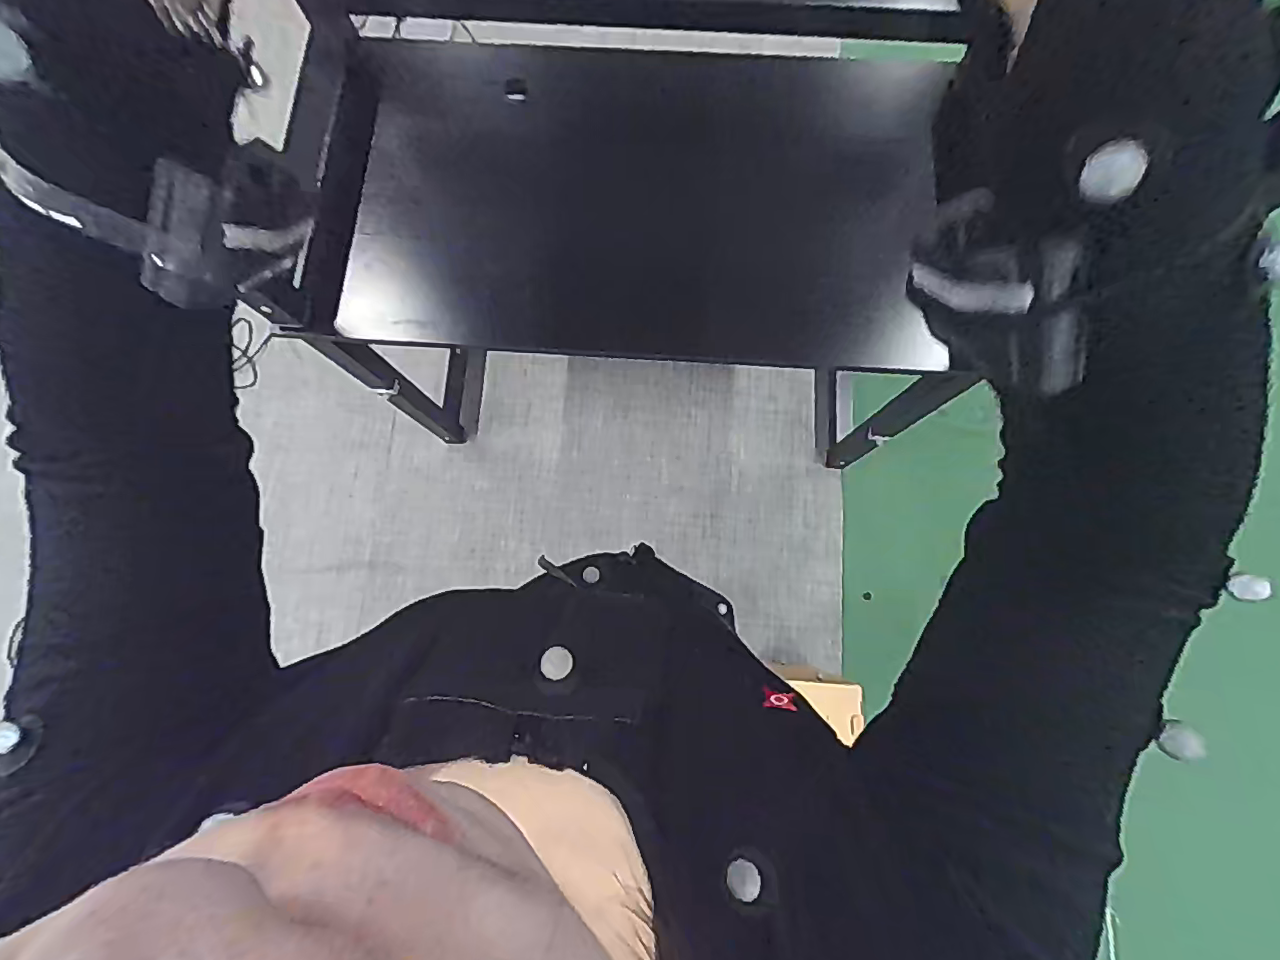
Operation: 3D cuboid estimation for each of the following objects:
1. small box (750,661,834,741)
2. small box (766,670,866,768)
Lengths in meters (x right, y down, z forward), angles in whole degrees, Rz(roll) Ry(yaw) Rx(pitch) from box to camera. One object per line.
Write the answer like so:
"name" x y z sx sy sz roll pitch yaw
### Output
"small box" 0.376 0.553 1.357 0.179 0.176 0.168 2 79 1
"small box" 0.381 0.520 1.198 0.179 0.176 0.168 4 78 1
